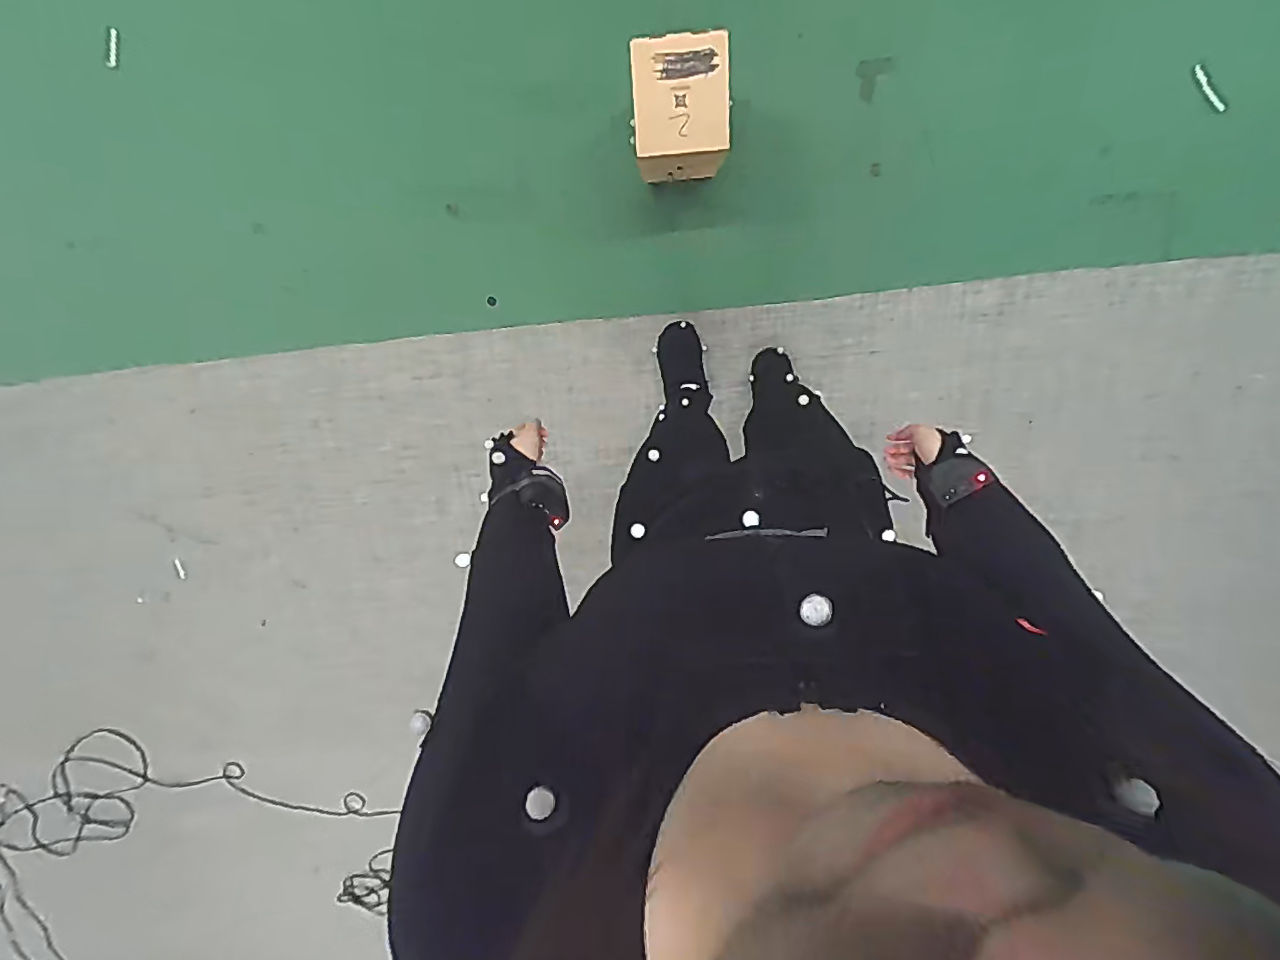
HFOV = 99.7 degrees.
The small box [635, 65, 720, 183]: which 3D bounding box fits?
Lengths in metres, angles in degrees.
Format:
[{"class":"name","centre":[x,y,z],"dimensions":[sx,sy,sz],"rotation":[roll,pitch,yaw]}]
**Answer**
[{"class":"small box","centre":[0.082,-0.741,1.148],"dimensions":[0.168,0.176,0.179],"rotation":[-3,110,4]}]
